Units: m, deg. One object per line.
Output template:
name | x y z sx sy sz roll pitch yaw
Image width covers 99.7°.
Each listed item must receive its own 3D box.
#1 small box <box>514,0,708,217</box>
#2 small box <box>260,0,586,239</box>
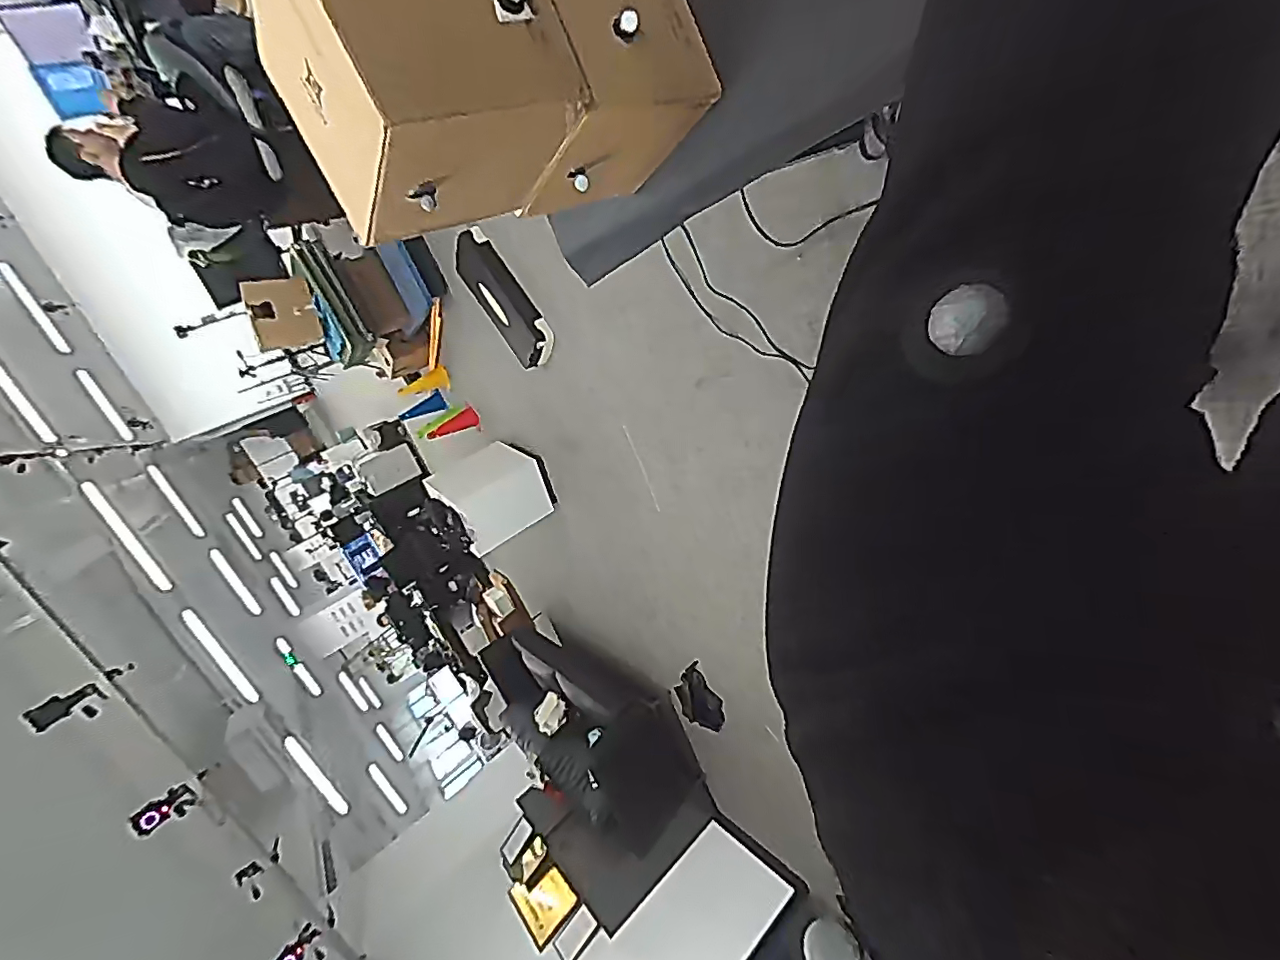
small box | -0.056 -0.394 0.527 0.179 0.176 0.168 -9 109 59
small box | -0.171 -0.325 0.433 0.179 0.176 0.168 -9 110 58
